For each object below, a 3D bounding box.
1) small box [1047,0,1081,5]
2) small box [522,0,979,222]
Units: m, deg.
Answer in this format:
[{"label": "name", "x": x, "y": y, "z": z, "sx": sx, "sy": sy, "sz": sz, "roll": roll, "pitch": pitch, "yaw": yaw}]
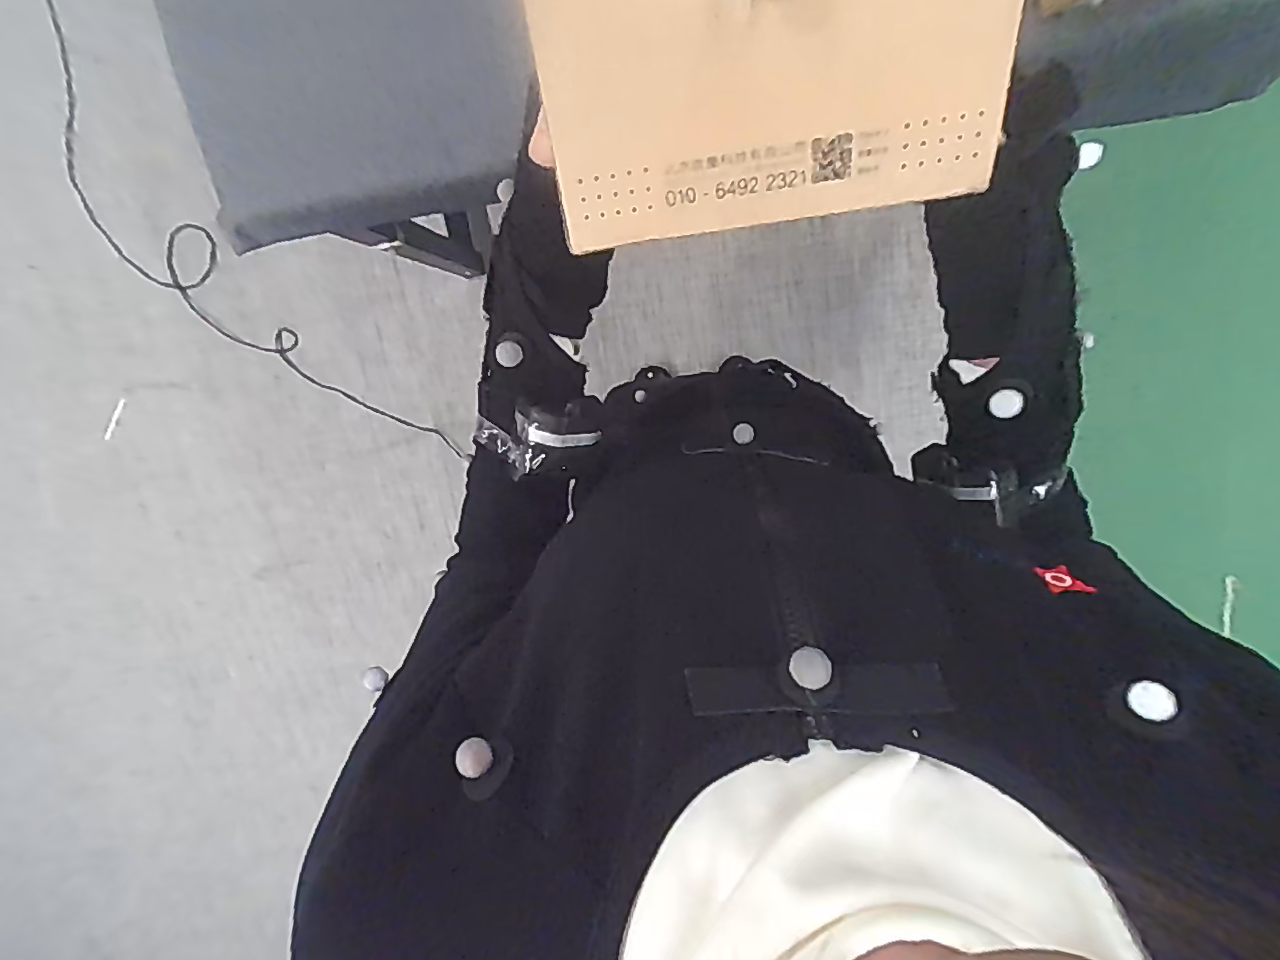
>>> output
[{"label": "small box", "x": 0.458, "y": -0.556, "z": 0.457, "sx": 0.168, "sy": 0.176, "sz": 0.179, "roll": -12, "pitch": 101, "yaw": 6}, {"label": "small box", "x": 0.040, "y": -0.225, "z": 0.247, "sx": 0.168, "sy": 0.179, "sz": 0.176, "roll": -5, "pitch": 123, "yaw": 4}]
